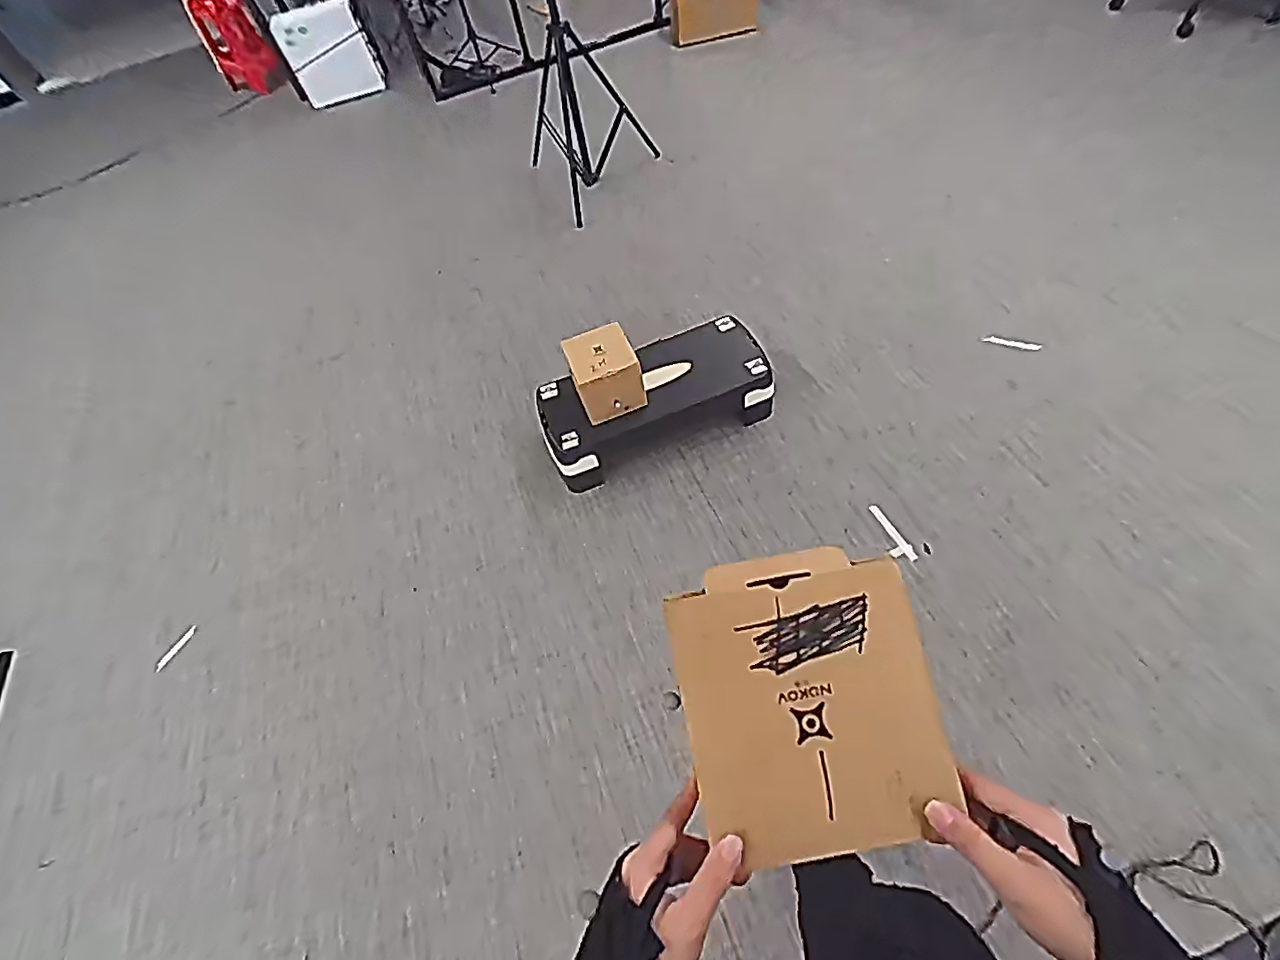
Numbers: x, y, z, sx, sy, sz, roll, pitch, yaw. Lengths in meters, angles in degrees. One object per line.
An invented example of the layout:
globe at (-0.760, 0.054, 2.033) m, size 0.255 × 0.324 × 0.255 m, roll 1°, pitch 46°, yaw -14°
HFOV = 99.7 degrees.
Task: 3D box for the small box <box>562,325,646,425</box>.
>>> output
small box at (-0.094, -0.281, 1.464) m, size 0.168 × 0.176 × 0.179 m, roll -22°, pitch 57°, yaw -4°

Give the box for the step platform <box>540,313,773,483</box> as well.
step platform at (0.047, -0.254, 1.632) m, size 0.684 × 0.204 × 0.286 m, roll -23°, pitch 57°, yaw -4°

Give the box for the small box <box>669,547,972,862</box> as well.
small box at (0.117, 0.159, 0.434) m, size 0.168 × 0.176 × 0.179 m, roll -11°, pitch 79°, yaw 1°
